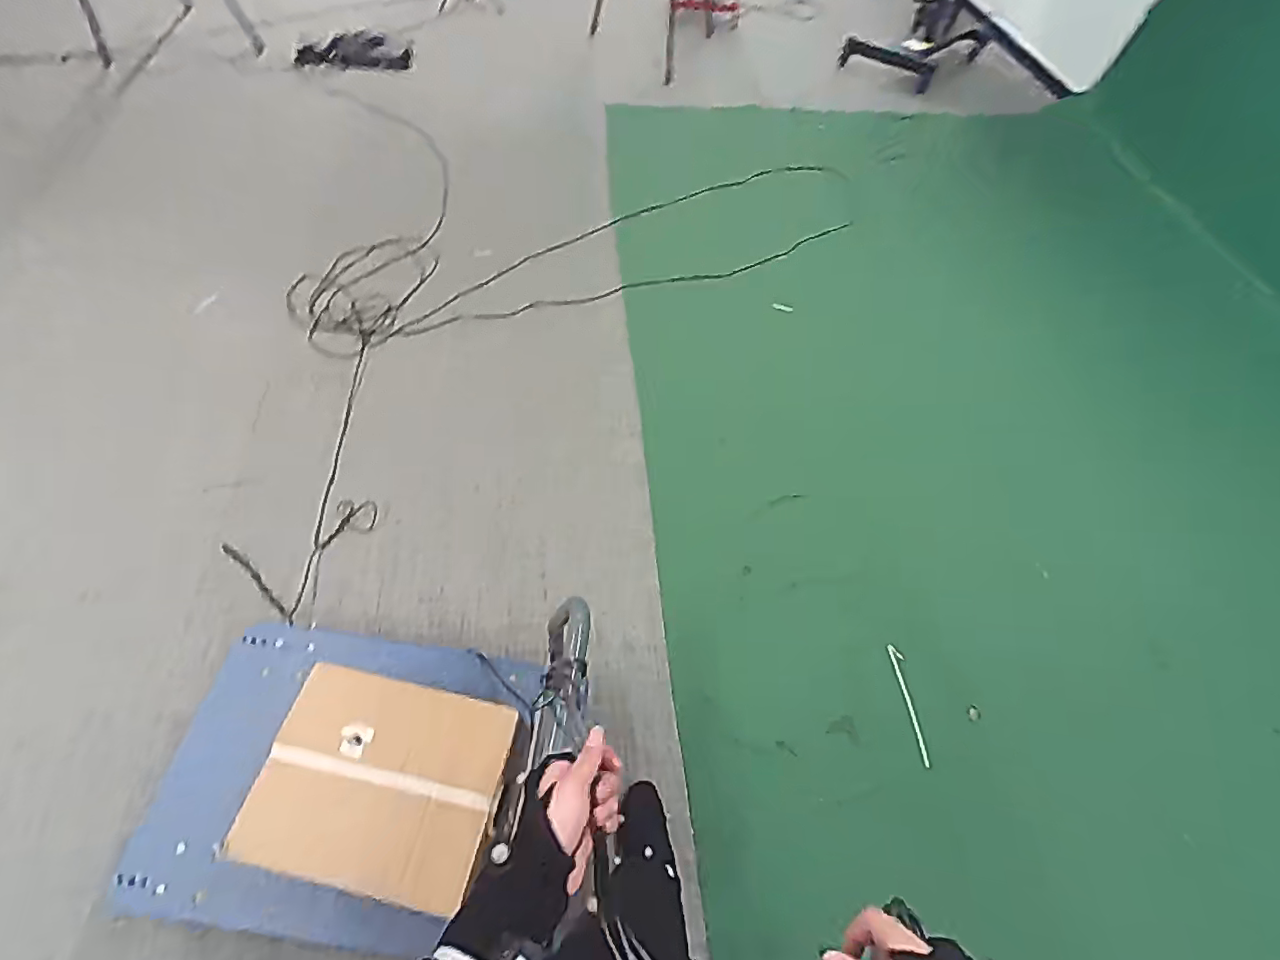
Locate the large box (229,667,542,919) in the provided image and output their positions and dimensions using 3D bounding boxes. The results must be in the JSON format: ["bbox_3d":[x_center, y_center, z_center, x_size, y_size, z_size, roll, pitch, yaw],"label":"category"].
[{"bbox_3d":[-0.437,0.589,1.049,0.408,0.320,0.320,12,59,4],"label":"large box"}]
